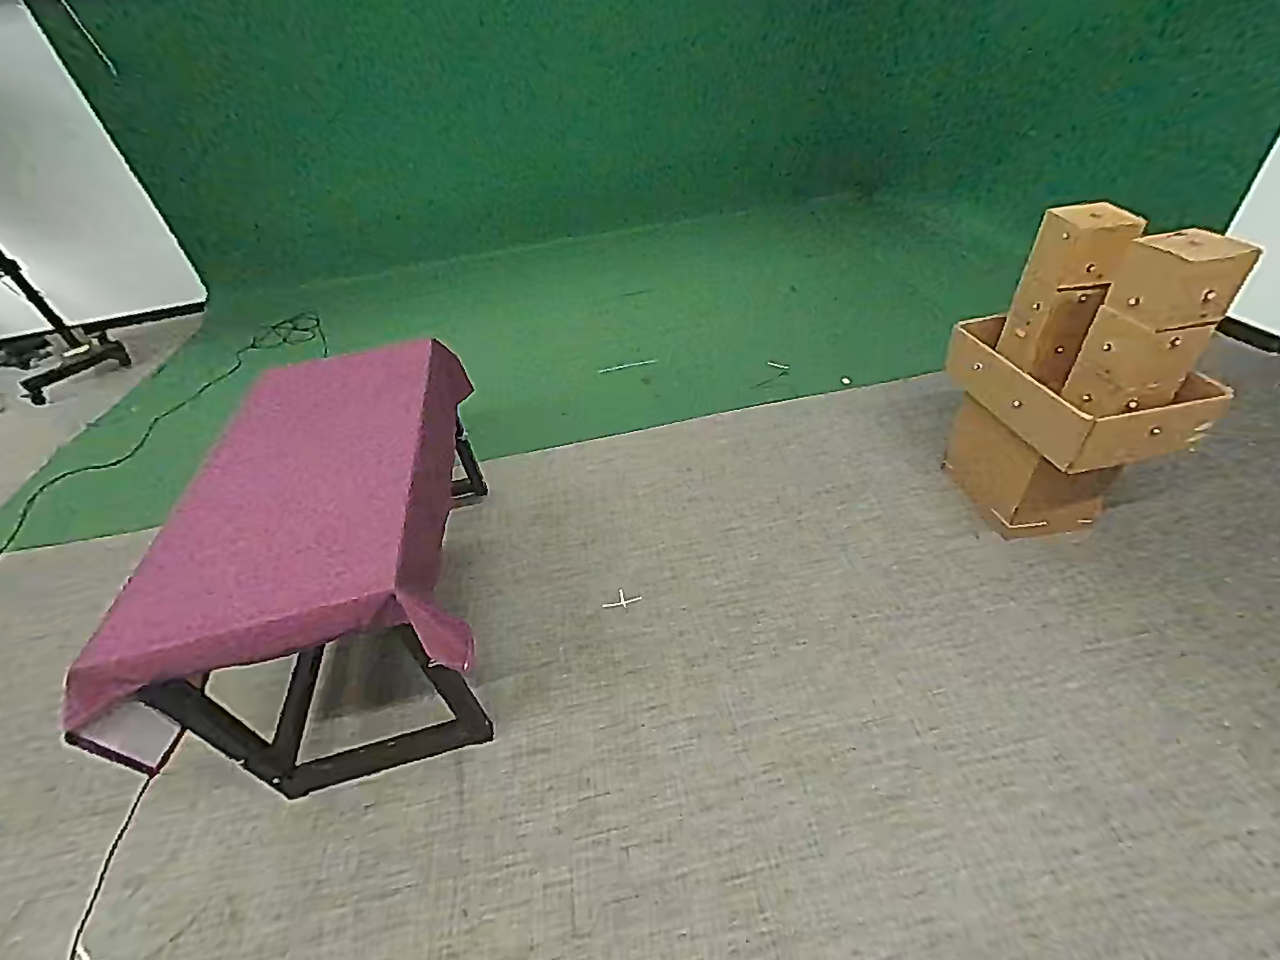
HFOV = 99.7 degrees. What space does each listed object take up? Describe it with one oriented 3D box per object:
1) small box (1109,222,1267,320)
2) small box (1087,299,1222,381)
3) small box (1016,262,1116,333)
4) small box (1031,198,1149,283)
[{"bbox_3d":[1.306,-0.498,1.306,0.168,0.176,0.179,-10,41,0],"label":"small box"},{"bbox_3d":[1.325,-0.376,1.414,0.179,0.176,0.168,-11,41,-1],"label":"small box"},{"bbox_3d":[1.282,-0.560,1.640,0.179,0.176,0.168,-7,42,2],"label":"small box"},{"bbox_3d":[1.258,-0.677,1.530,0.168,0.176,0.179,-5,43,5],"label":"small box"}]
